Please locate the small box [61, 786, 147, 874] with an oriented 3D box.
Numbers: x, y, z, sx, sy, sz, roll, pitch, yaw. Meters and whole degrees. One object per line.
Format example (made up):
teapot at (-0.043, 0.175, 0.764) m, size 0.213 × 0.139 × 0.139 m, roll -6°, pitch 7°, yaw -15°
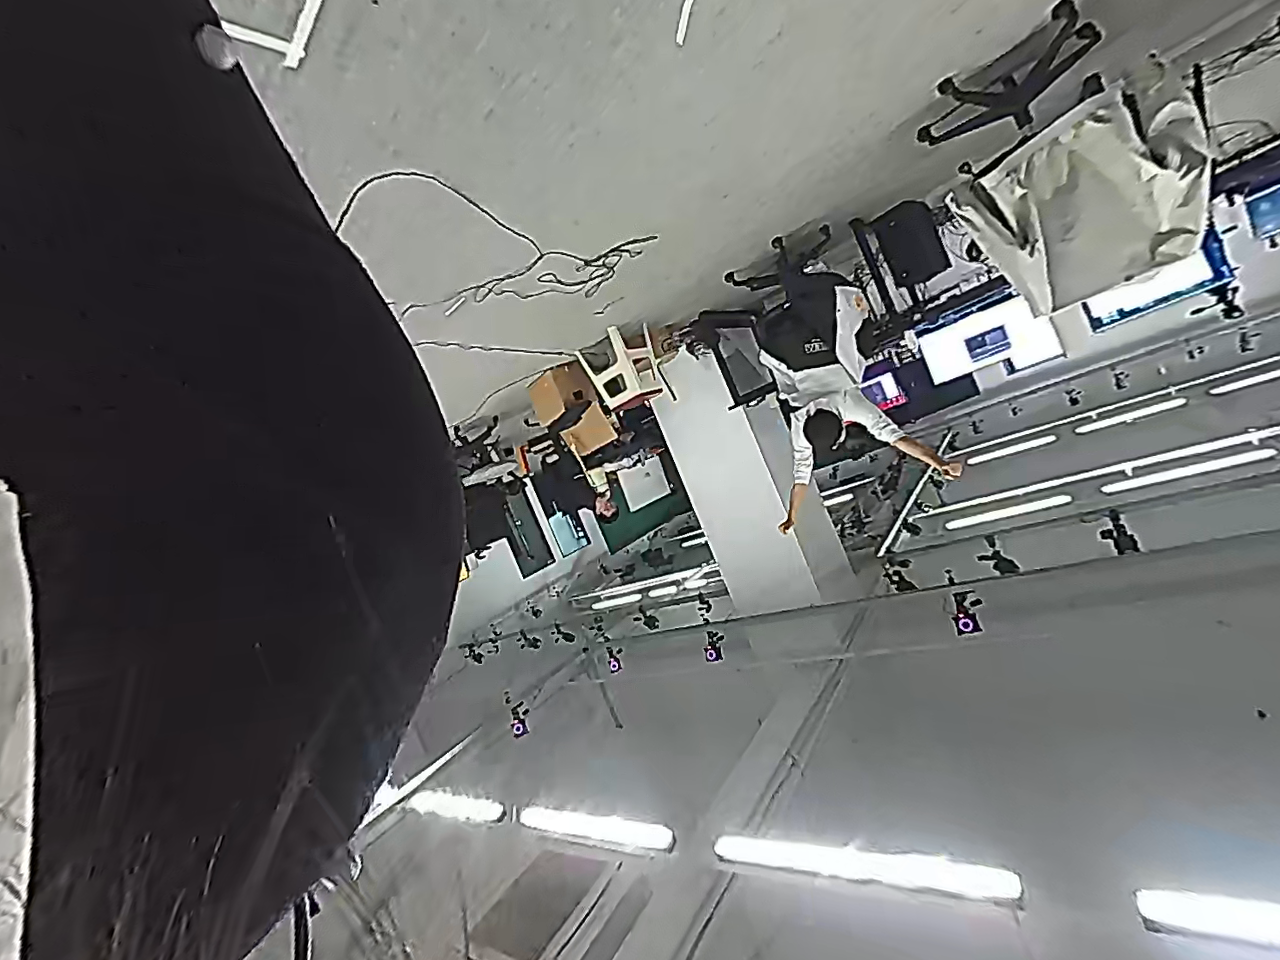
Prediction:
small box at (-1.776, 1.148, 1.792) m, size 0.179 × 0.176 × 0.168 m, roll -19°, pitch -178°, yaw 44°
